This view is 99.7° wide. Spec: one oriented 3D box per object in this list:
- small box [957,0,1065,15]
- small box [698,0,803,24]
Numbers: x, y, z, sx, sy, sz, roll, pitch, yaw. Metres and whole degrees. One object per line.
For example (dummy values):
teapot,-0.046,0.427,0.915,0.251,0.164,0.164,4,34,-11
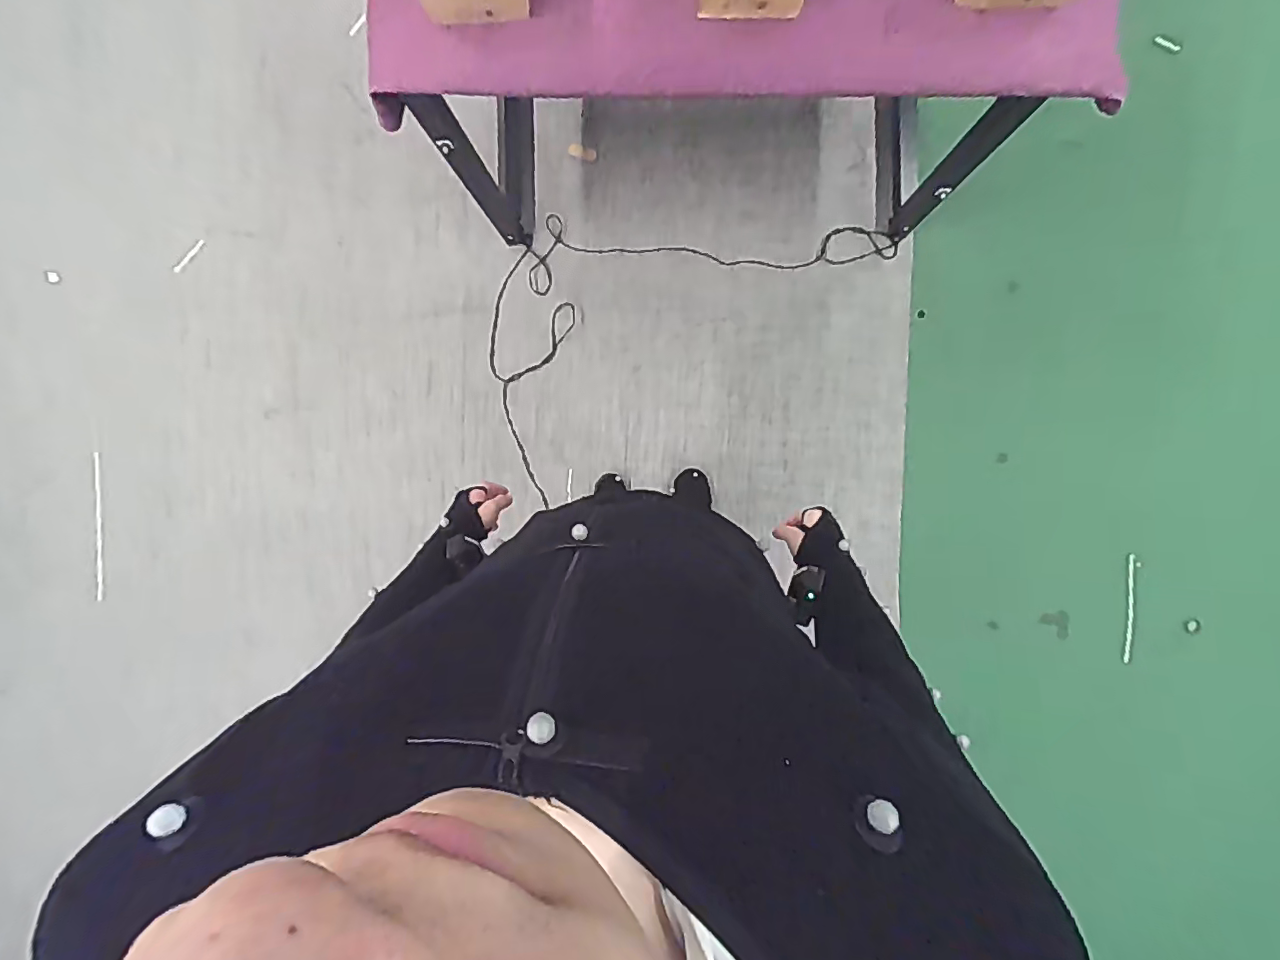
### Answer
small box,0.579,-0.826,0.776,0.168,0.176,0.179,3,90,4
small box,0.176,-0.833,0.800,0.168,0.176,0.179,3,91,2
